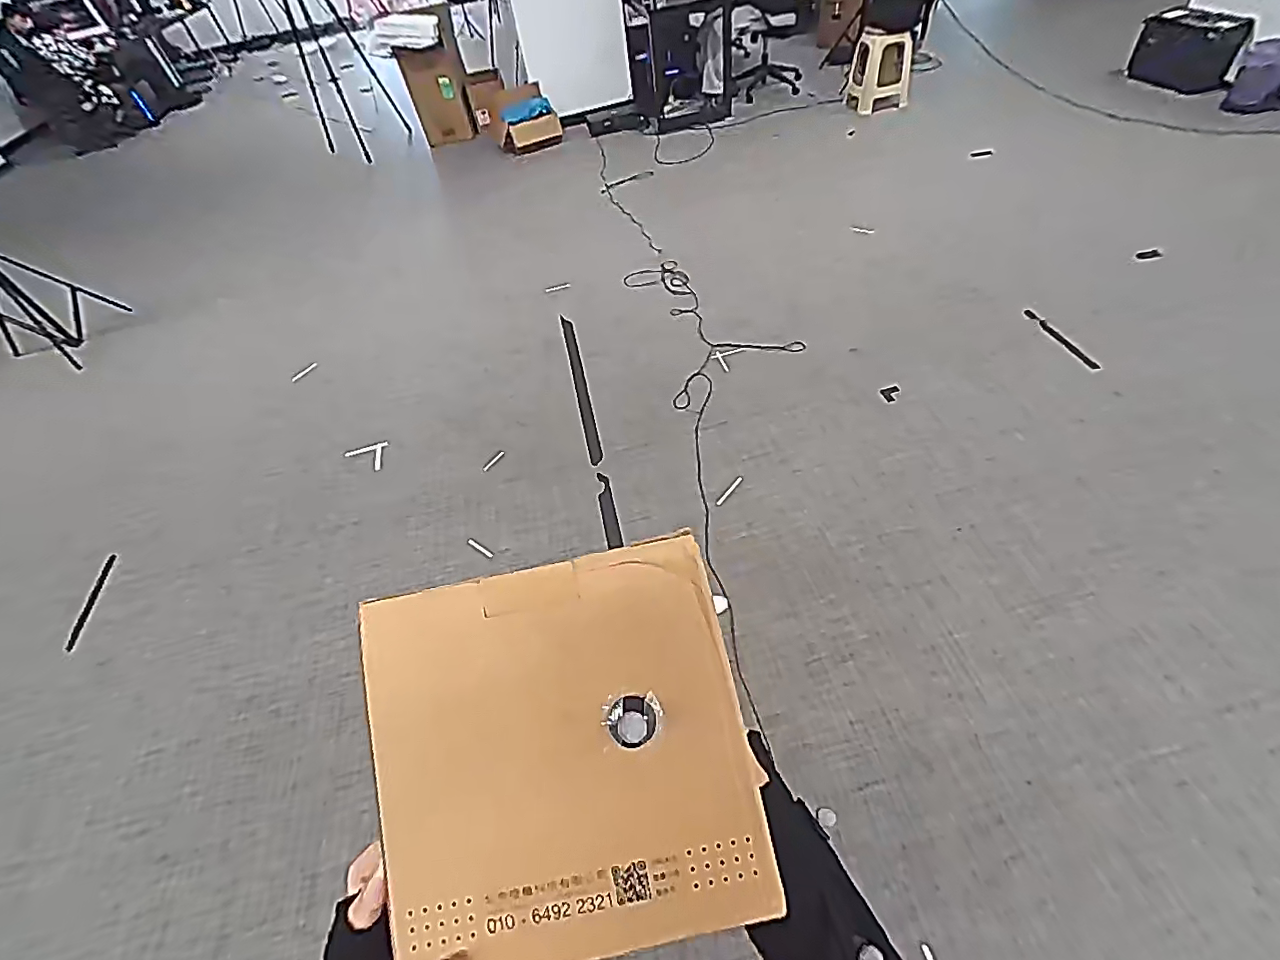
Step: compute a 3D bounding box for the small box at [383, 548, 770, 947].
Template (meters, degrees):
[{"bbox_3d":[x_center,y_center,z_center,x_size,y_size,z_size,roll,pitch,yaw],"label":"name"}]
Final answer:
[{"bbox_3d":[-0.029,0.147,0.338,0.168,0.179,0.176,-12,79,1],"label":"small box"}]
